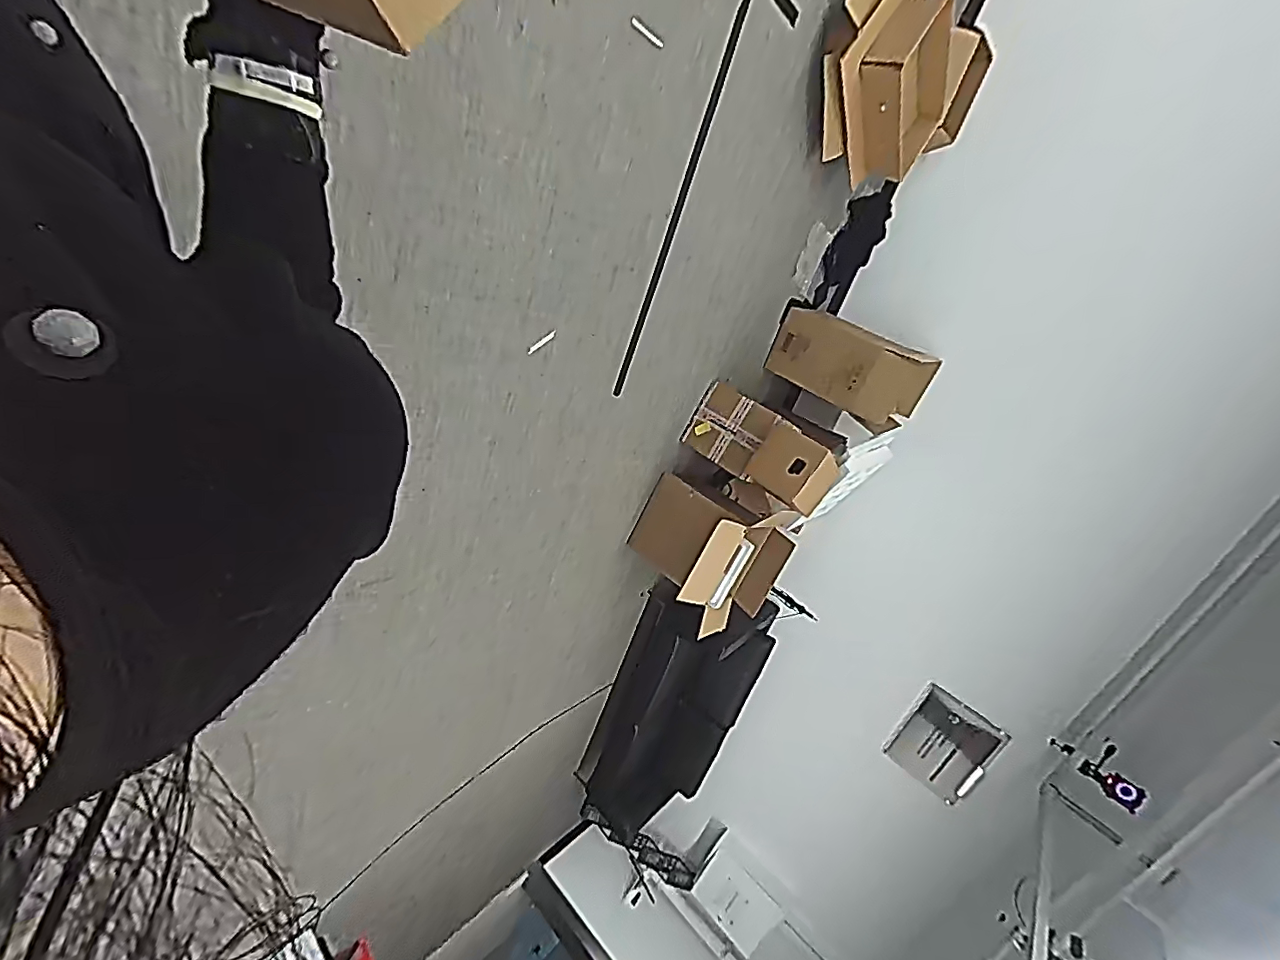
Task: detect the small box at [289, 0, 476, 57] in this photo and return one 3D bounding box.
[{"bbox_3d":[-0.141,-0.345,0.239,0.179,0.176,0.168,-52,157,-6],"label":"small box"}]

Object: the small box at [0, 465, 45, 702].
[{"bbox_3d":[-0.628,0.088,0.445,0.168,0.176,0.179,-8,128,-51],"label":"small box"}]
